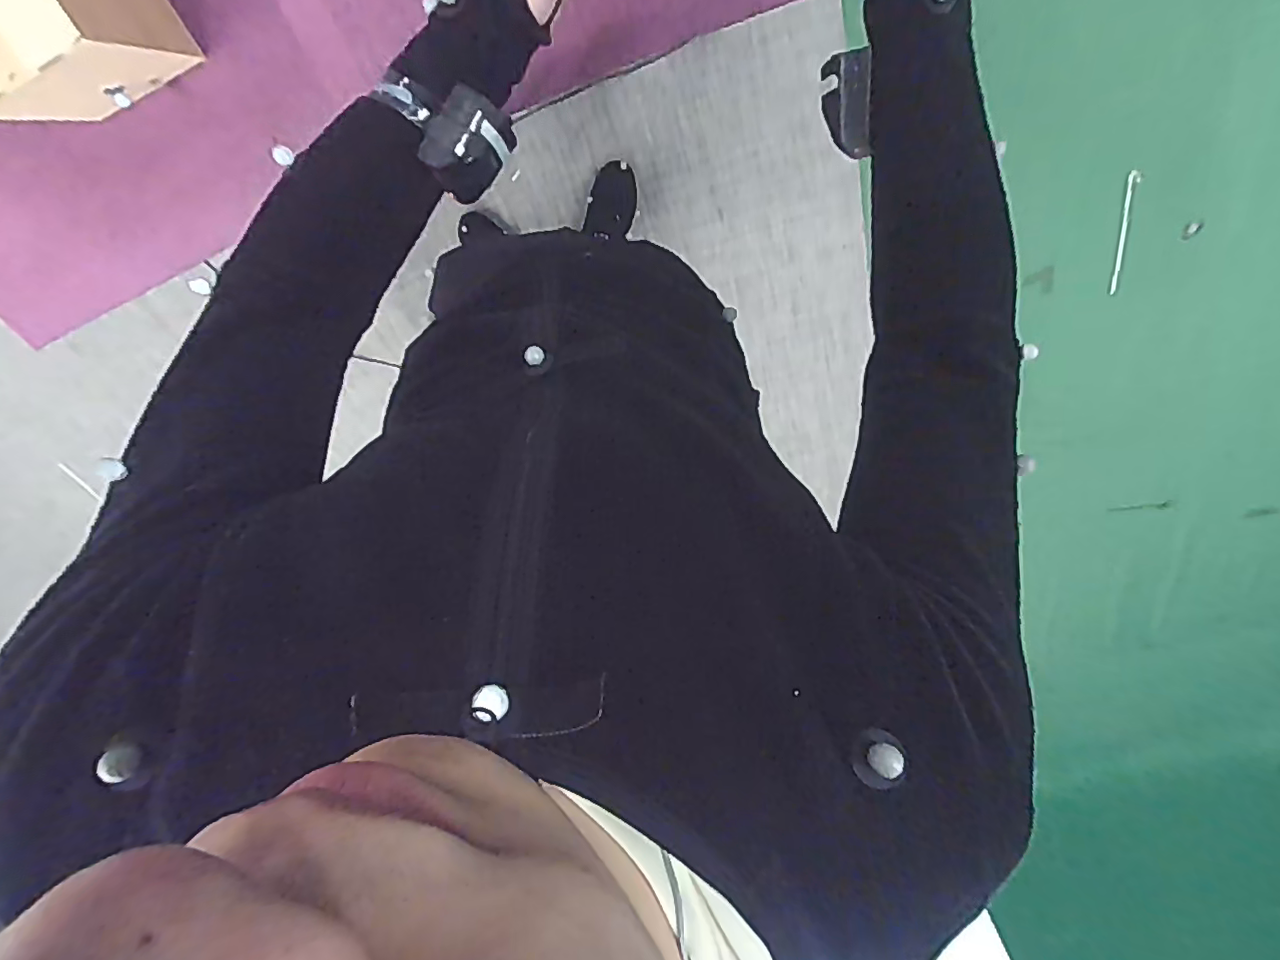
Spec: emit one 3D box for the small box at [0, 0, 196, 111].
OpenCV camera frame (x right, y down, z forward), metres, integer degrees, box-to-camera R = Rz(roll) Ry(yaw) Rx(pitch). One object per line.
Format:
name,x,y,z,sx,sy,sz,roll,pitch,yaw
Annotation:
small box,-0.592,-0.474,0.506,0.168,0.176,0.179,-18,123,11
